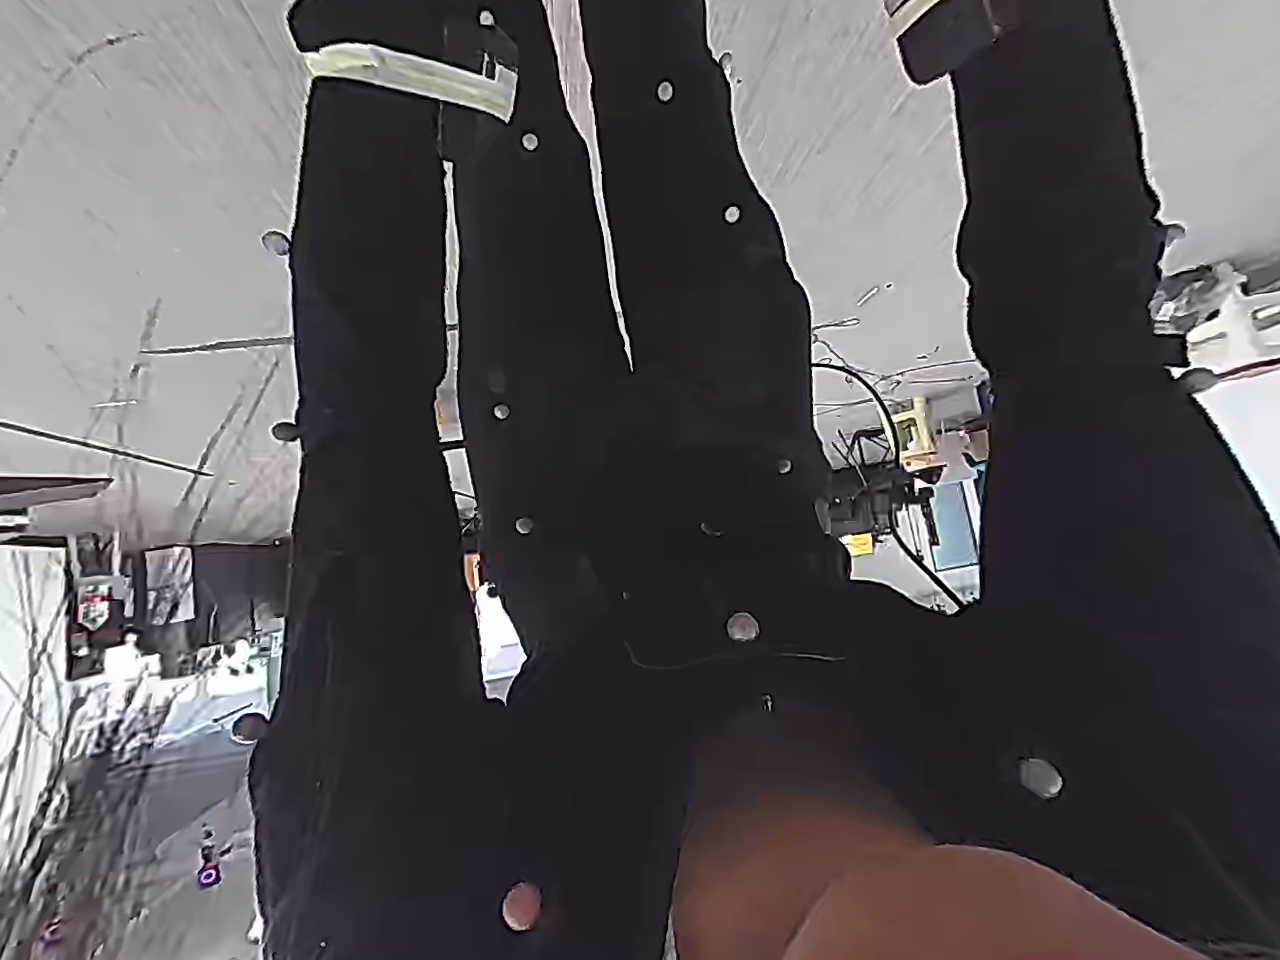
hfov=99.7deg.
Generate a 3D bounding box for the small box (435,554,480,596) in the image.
[{"bbox_3d":[-0.861,0.446,2.546,0.179,0.176,0.168,-8,173,-11],"label":"small box"}]

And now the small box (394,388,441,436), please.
[{"bbox_3d":[-0.987,-0.301,2.388,0.179,0.176,0.168,-7,172,-26],"label":"small box"}]
